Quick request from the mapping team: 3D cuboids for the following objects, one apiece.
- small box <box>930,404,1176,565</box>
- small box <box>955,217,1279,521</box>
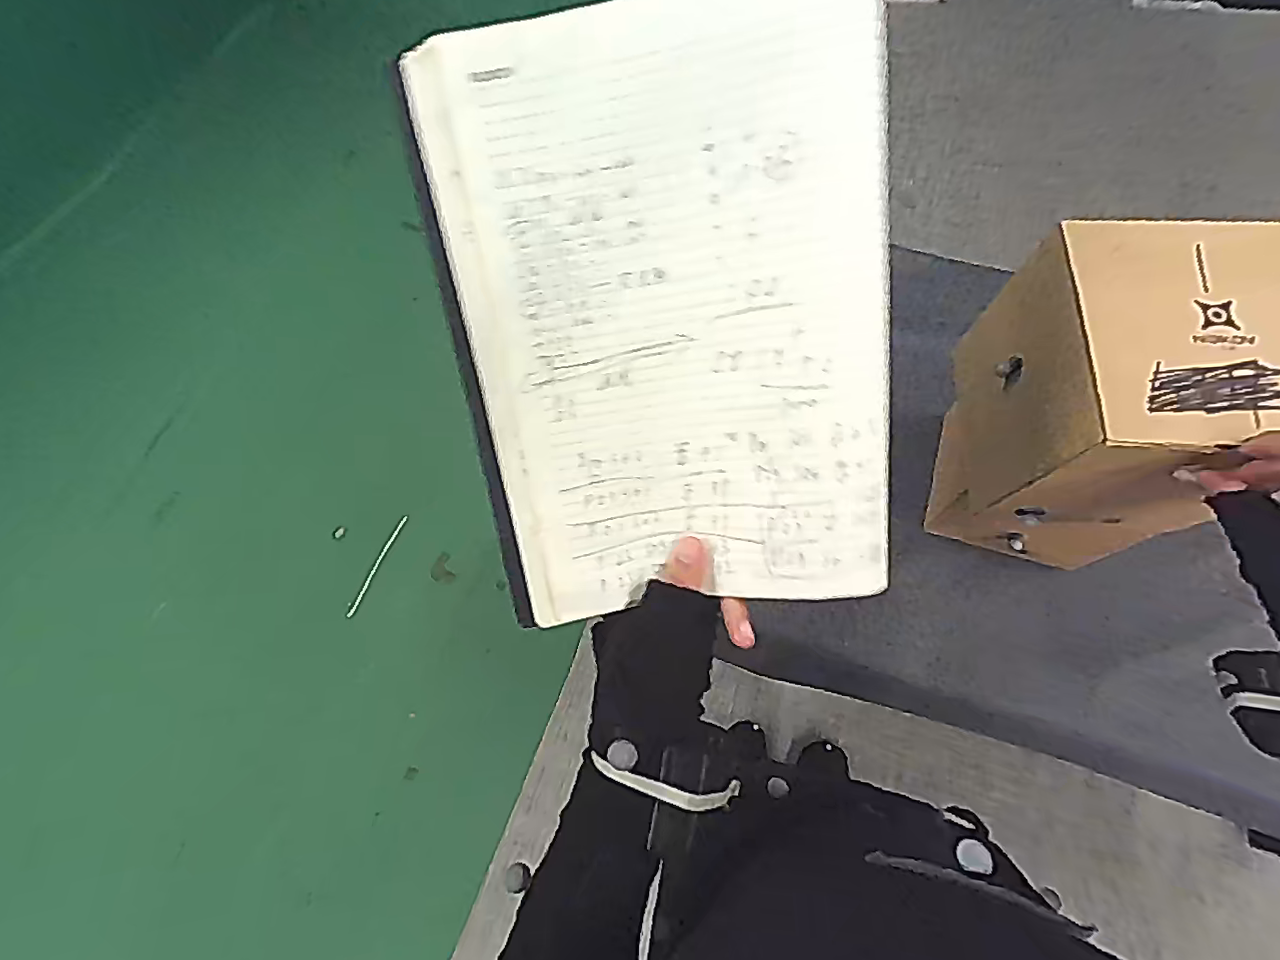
[{"bbox_3d":[0.453,-0.025,0.614,0.168,0.176,0.179,16,70,16],"label":"small box"},{"bbox_3d":[0.375,-0.074,0.424,0.168,0.176,0.179,4,70,6],"label":"small box"}]
